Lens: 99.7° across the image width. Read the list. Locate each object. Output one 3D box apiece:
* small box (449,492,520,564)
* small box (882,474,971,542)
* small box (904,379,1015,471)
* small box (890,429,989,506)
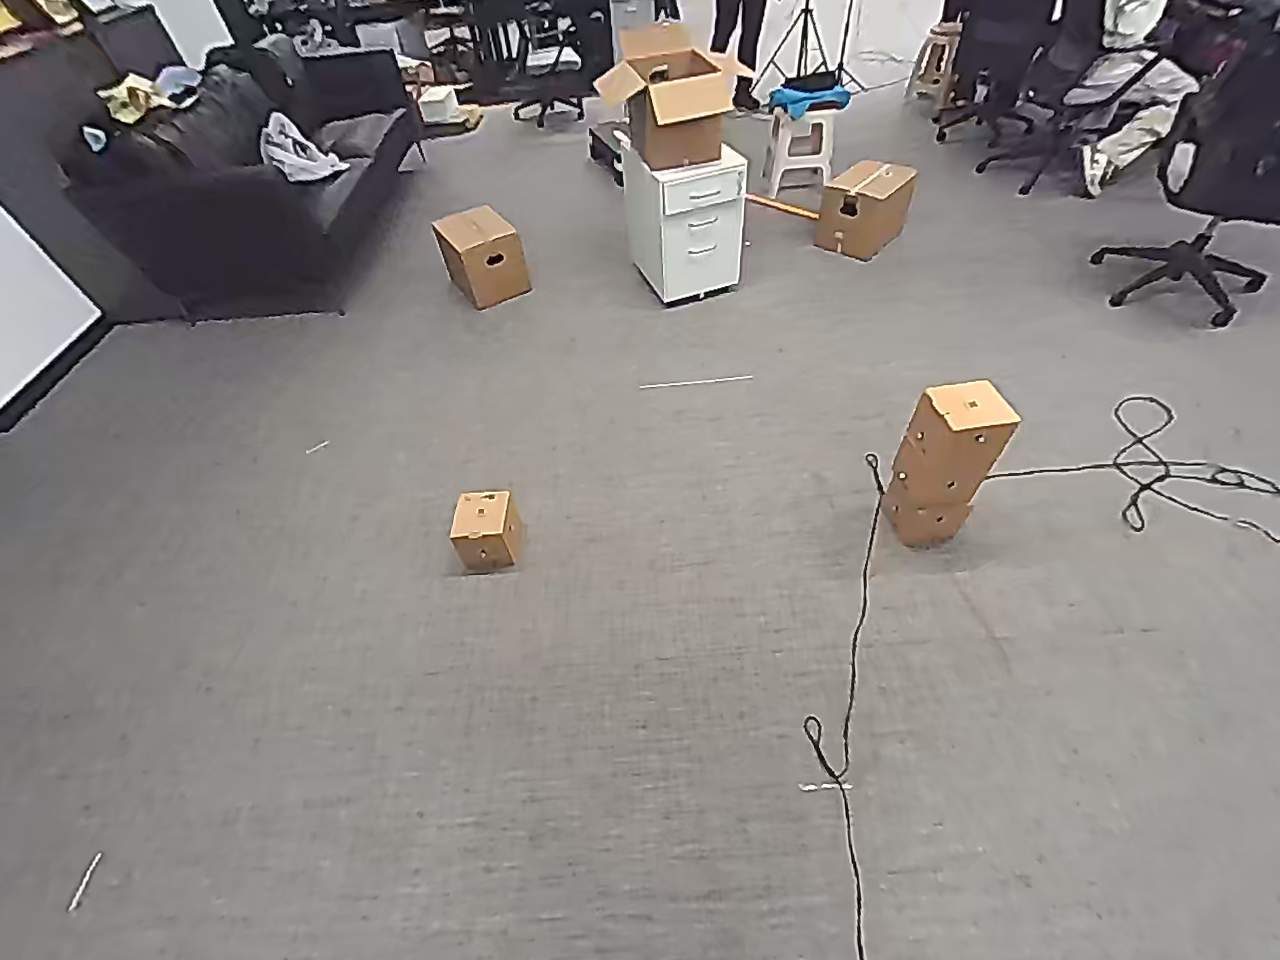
[{"bbox_3d":[-0.498,0.162,1.761,0.168,0.176,0.179,-4,49,3],"label":"small box"},{"bbox_3d":[0.880,0.077,1.689,0.179,0.176,0.168,-10,50,-3],"label":"small box"},{"bbox_3d":[0.845,-0.144,1.452,0.179,0.176,0.168,-9,49,0],"label":"small box"},{"bbox_3d":[0.863,-0.043,1.578,0.179,0.176,0.168,-8,48,0],"label":"small box"}]
